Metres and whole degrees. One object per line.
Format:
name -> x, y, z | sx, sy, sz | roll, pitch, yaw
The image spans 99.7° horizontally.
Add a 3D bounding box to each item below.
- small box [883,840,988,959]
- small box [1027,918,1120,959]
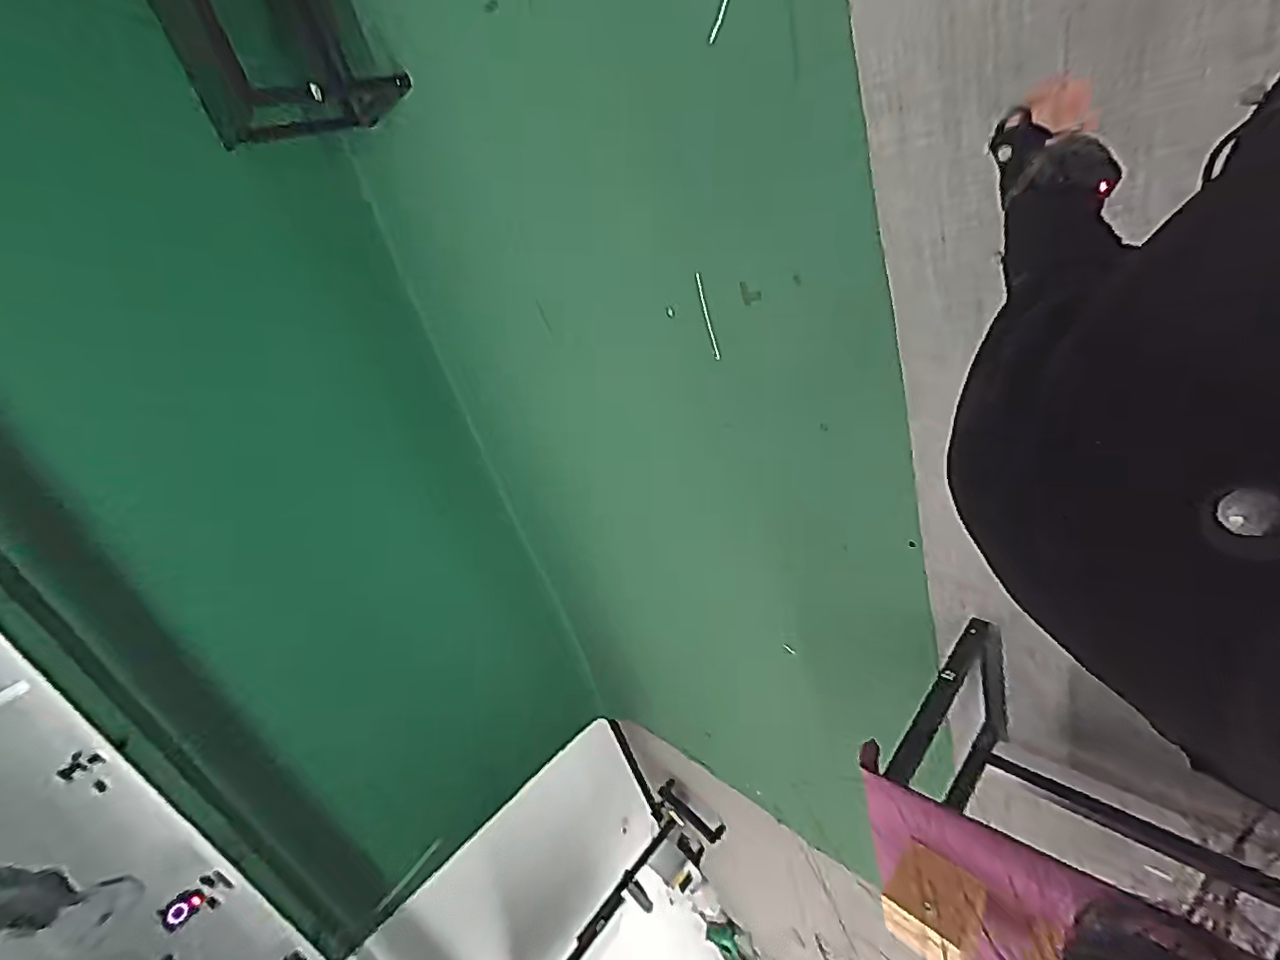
small box -> 0.700, 1.009, 1.277 | 0.179, 0.176, 0.168 | 13, 129, 46
small box -> 0.884, 1.049, 1.082 | 0.168, 0.176, 0.179 | 4, 121, 50
